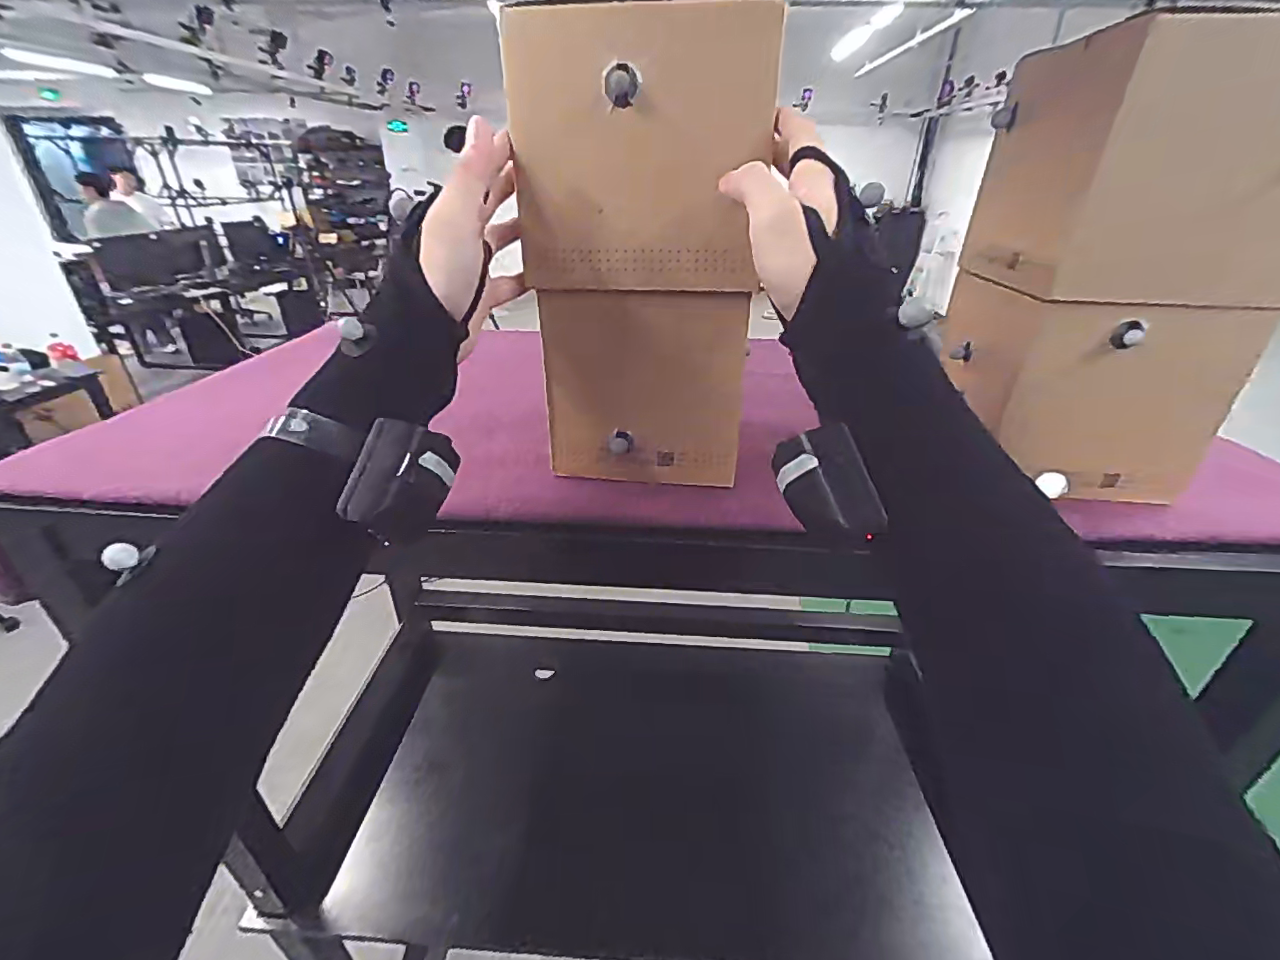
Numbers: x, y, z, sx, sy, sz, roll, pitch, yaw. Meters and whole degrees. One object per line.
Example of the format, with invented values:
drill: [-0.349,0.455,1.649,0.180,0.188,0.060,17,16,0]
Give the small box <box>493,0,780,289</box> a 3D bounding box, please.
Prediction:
small box: [0.007,-0.249,0.424,0.179,0.176,0.168,4,30,6]

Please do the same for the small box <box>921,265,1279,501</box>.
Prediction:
small box: [0.389,-0.099,0.506,0.168,0.176,0.179,3,29,6]

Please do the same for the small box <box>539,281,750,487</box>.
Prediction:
small box: [0.009,-0.111,0.518,0.168,0.176,0.179,3,29,5]
